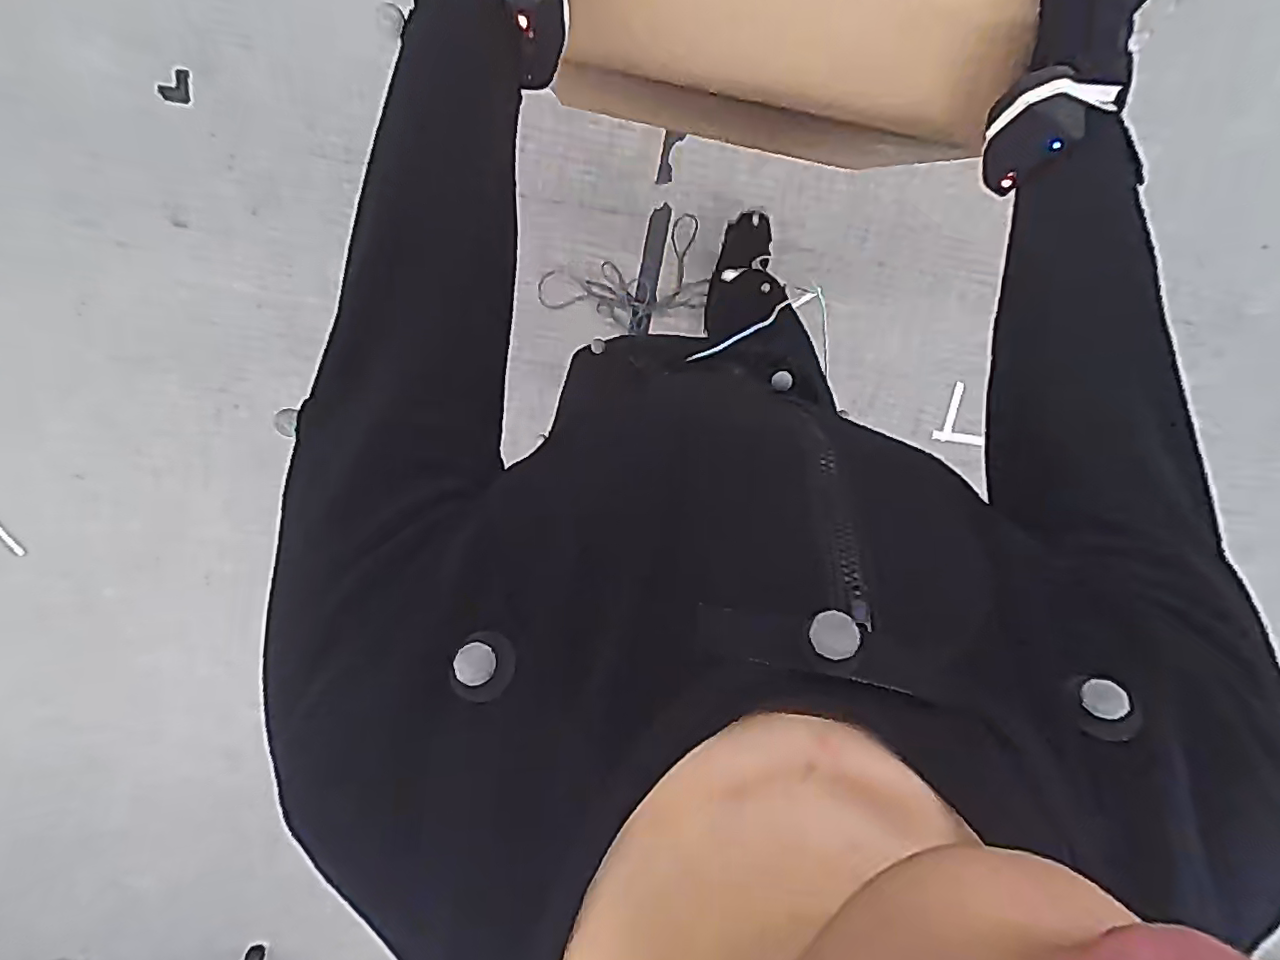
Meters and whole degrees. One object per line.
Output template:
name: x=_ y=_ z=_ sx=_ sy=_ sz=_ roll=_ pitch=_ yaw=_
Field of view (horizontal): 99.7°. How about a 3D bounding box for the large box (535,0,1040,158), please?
large box: x=0.126 y=-0.524 z=0.515 sx=0.408 sy=0.320 sz=0.320 roll=8 pitch=119 yaw=-7
